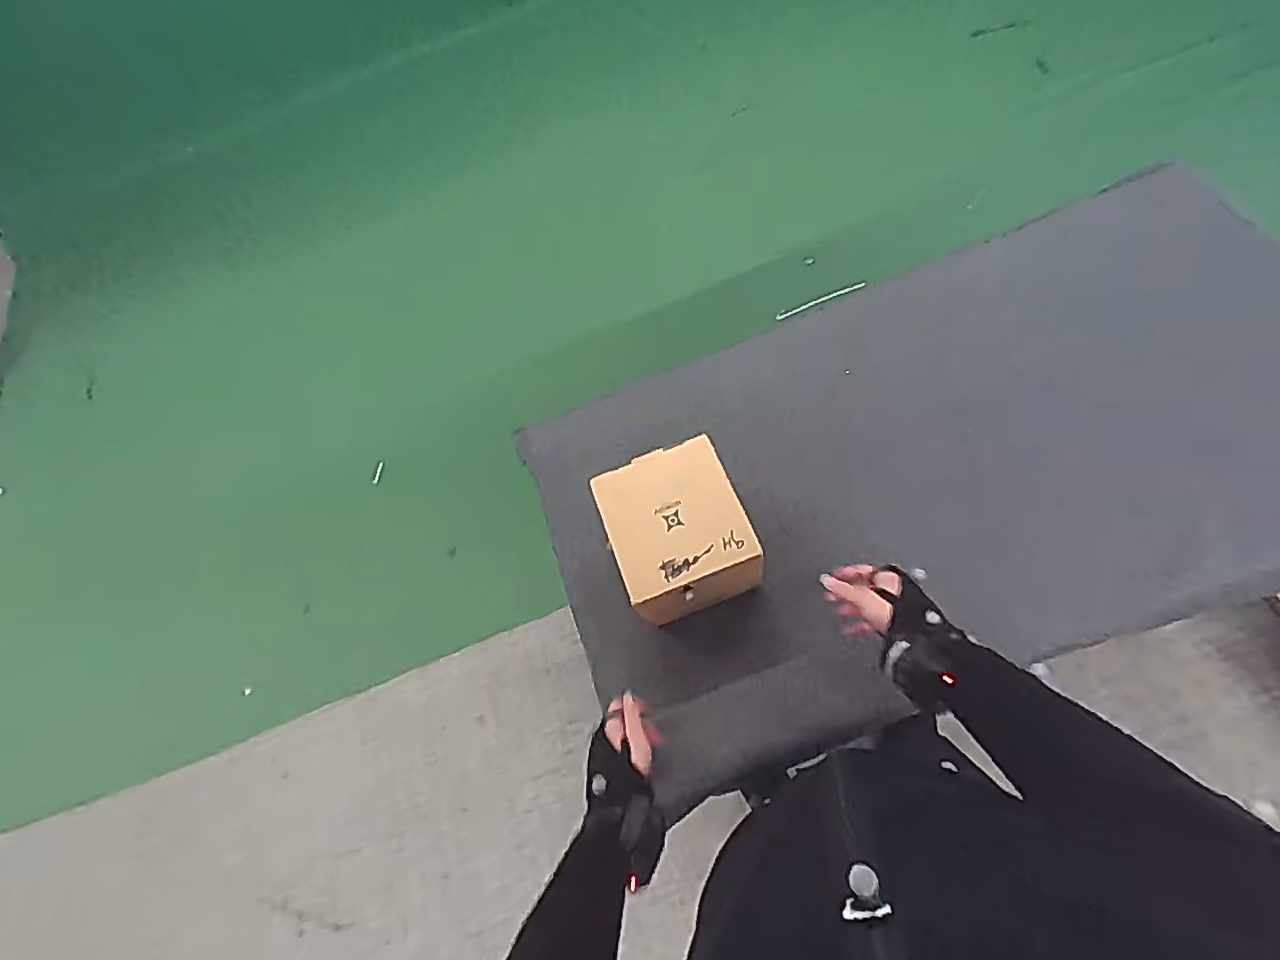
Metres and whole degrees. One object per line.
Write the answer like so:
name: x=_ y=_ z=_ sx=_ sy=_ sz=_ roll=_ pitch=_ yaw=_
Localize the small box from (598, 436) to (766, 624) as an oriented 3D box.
small box: x=0.058 y=0.074 z=0.735 sx=0.168 sy=0.176 sz=0.179 roll=-21 pitch=63 yaw=1
